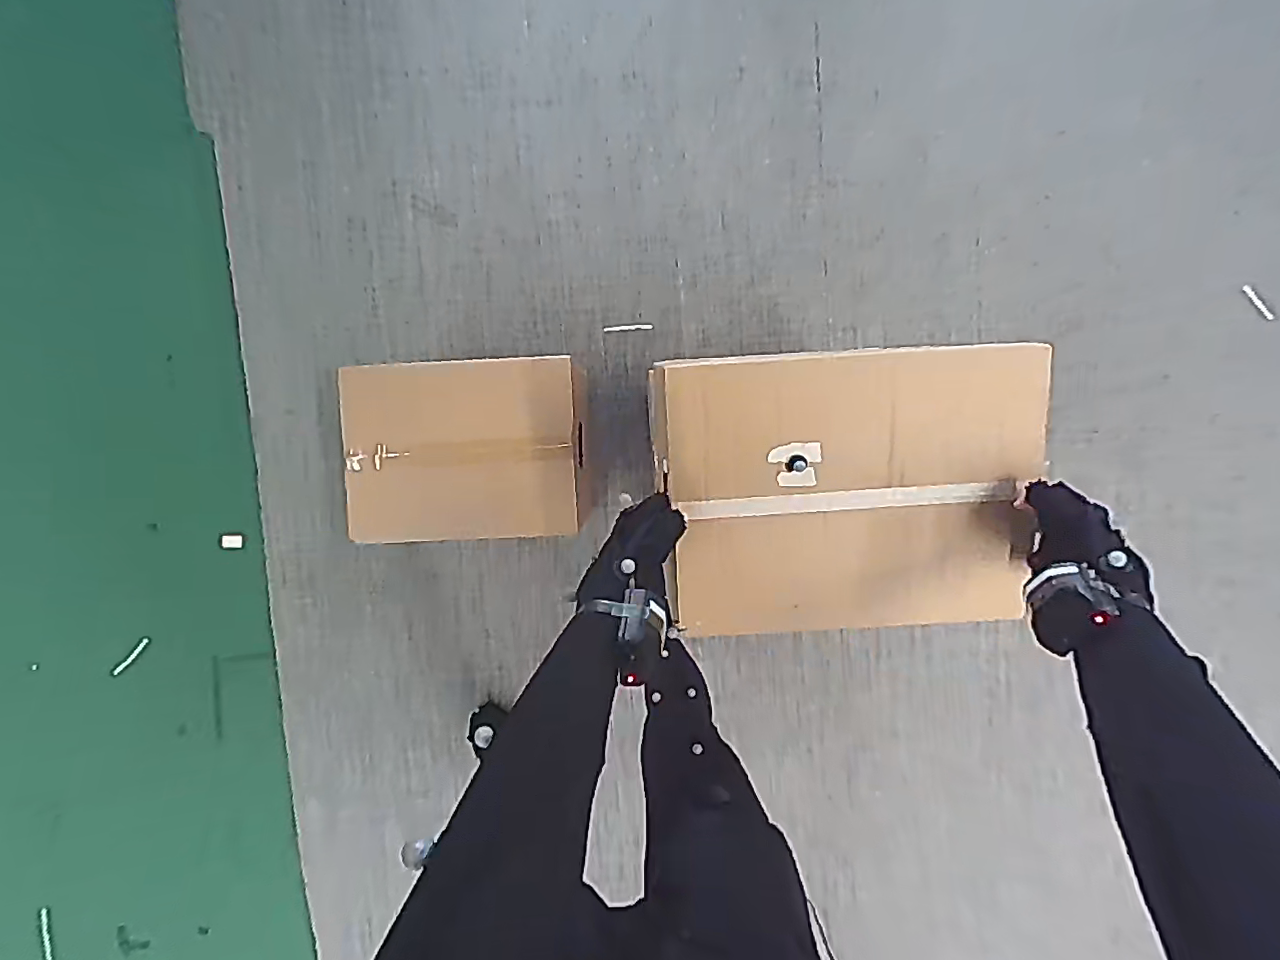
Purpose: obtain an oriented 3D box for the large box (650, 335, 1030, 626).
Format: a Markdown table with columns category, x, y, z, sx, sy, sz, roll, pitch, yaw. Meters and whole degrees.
| category | x | y | z | sx | sy | sz | roll | pitch | yaw |
| --- | --- | --- | --- | --- | --- | --- | --- | --- | --- |
| large box | 0.224 | -0.022 | 0.747 | 0.408 | 0.320 | 0.320 | -3 | 102 | 1 |
